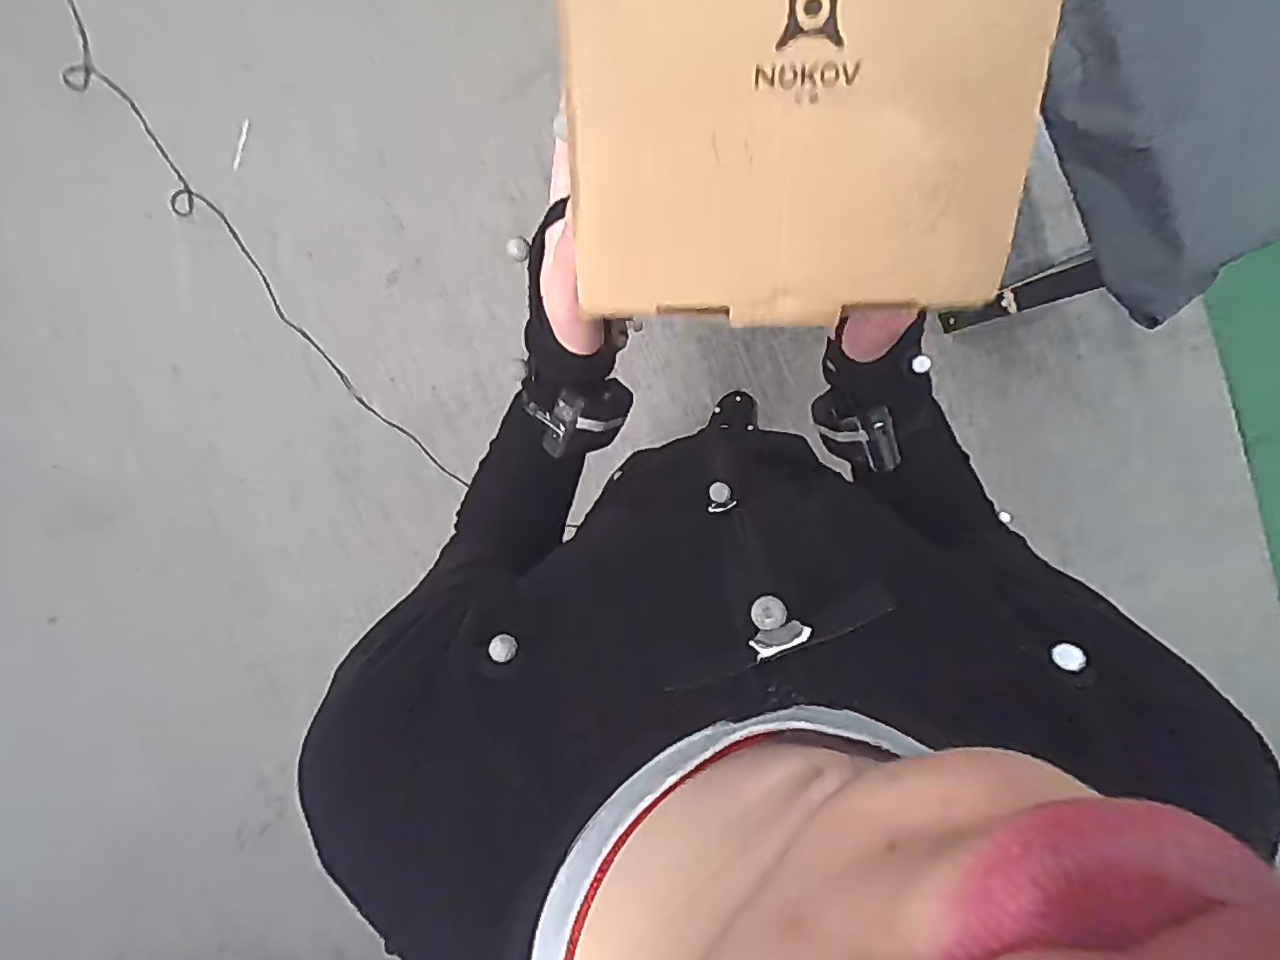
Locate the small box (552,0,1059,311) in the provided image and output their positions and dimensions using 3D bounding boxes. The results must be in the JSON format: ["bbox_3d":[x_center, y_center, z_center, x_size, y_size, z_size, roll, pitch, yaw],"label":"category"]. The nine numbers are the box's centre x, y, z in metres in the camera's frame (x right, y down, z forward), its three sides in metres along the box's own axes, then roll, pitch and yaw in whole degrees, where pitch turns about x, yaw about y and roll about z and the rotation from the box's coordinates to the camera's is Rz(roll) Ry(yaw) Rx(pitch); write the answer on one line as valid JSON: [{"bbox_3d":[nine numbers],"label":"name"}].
[{"bbox_3d":[0.050,-0.179,0.249,0.168,0.176,0.179,-3,113,-3],"label":"small box"}]
